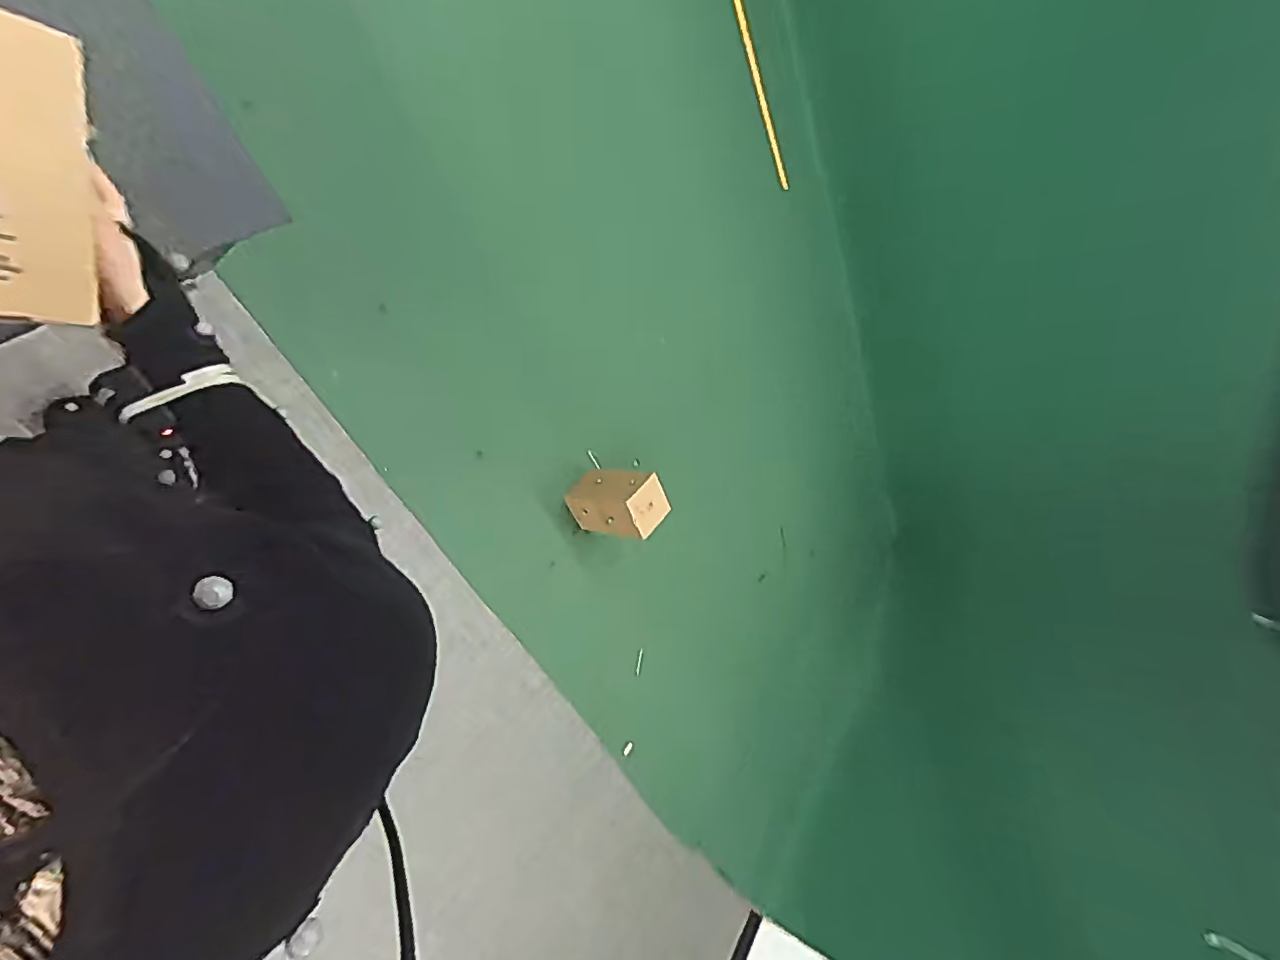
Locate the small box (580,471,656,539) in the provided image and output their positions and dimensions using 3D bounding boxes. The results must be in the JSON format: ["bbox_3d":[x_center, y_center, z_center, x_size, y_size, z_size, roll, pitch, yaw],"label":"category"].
[{"bbox_3d":[-0.079,0.081,1.897,0.179,0.176,0.168,-46,125,-36],"label":"small box"}]

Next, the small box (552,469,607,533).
[{"bbox_3d":[-0.202,0.074,2.007,0.179,0.176,0.168,-49,127,-35],"label":"small box"}]
